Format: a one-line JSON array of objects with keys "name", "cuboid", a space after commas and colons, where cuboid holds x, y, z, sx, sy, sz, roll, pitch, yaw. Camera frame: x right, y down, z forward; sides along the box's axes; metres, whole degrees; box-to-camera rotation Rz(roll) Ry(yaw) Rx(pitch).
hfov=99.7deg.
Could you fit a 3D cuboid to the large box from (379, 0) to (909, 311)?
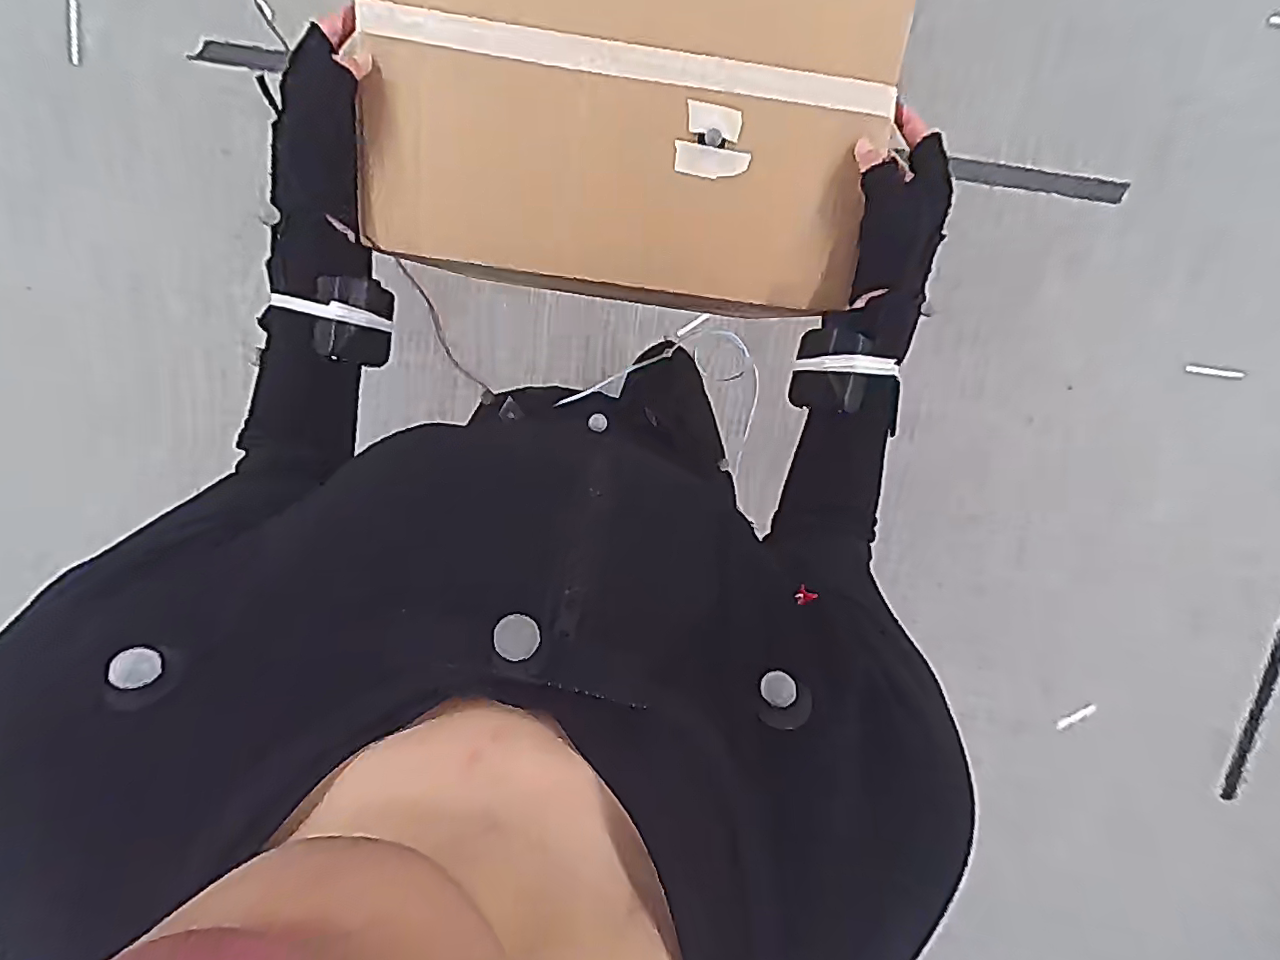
[{"name": "large box", "cuboid": [-0.006, -0.363, 0.562, 0.408, 0.320, 0.320, 7, 106, -4]}]
